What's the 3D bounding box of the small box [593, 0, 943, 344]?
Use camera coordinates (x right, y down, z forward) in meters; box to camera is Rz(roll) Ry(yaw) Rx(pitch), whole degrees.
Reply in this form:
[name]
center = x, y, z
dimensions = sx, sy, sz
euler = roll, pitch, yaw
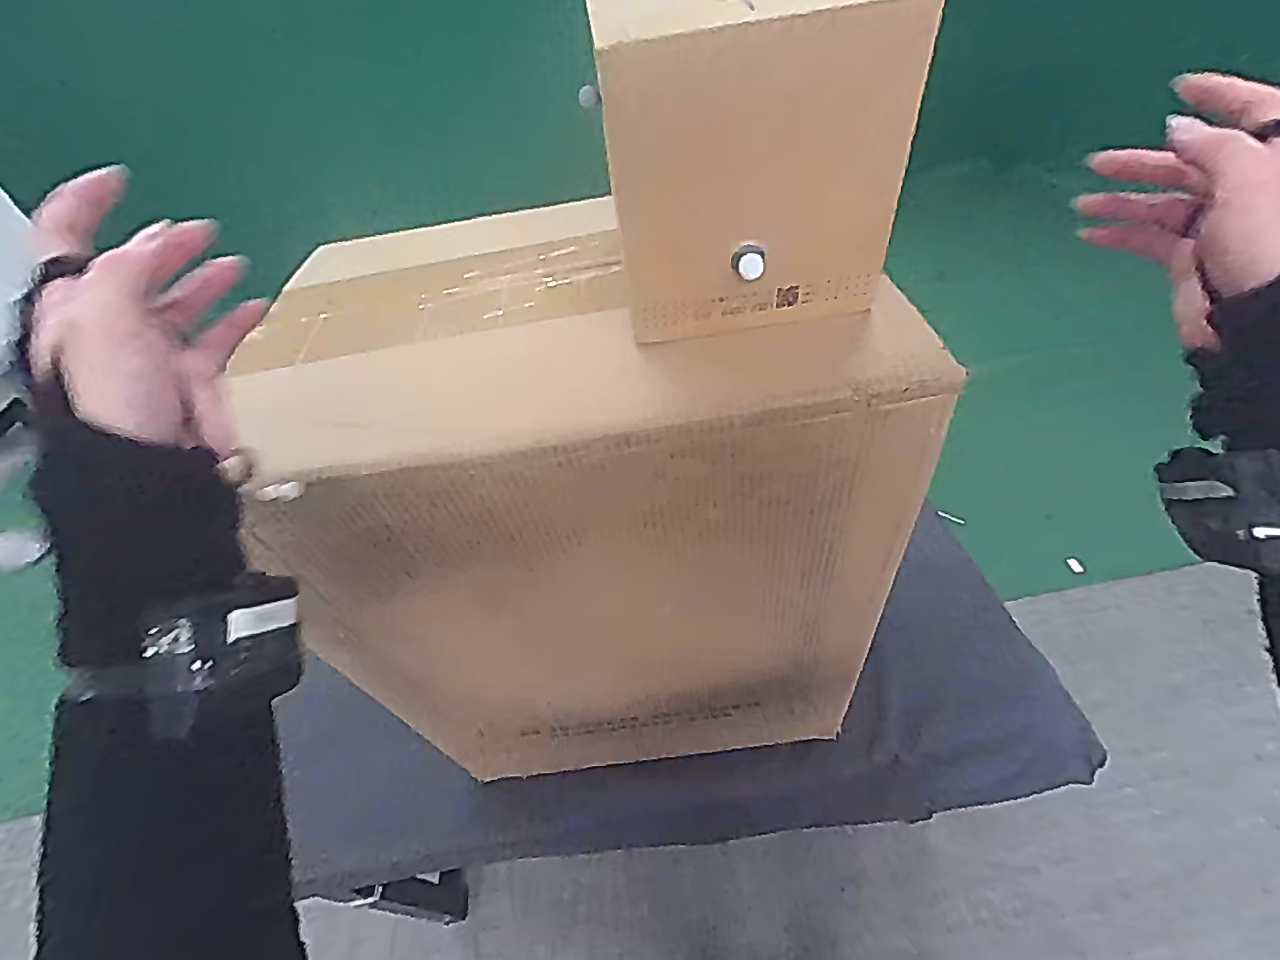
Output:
[small box]
center = 0.062, -0.217, 0.368
dimensions = 0.168, 0.176, 0.179
euler = -8, 49, 1
